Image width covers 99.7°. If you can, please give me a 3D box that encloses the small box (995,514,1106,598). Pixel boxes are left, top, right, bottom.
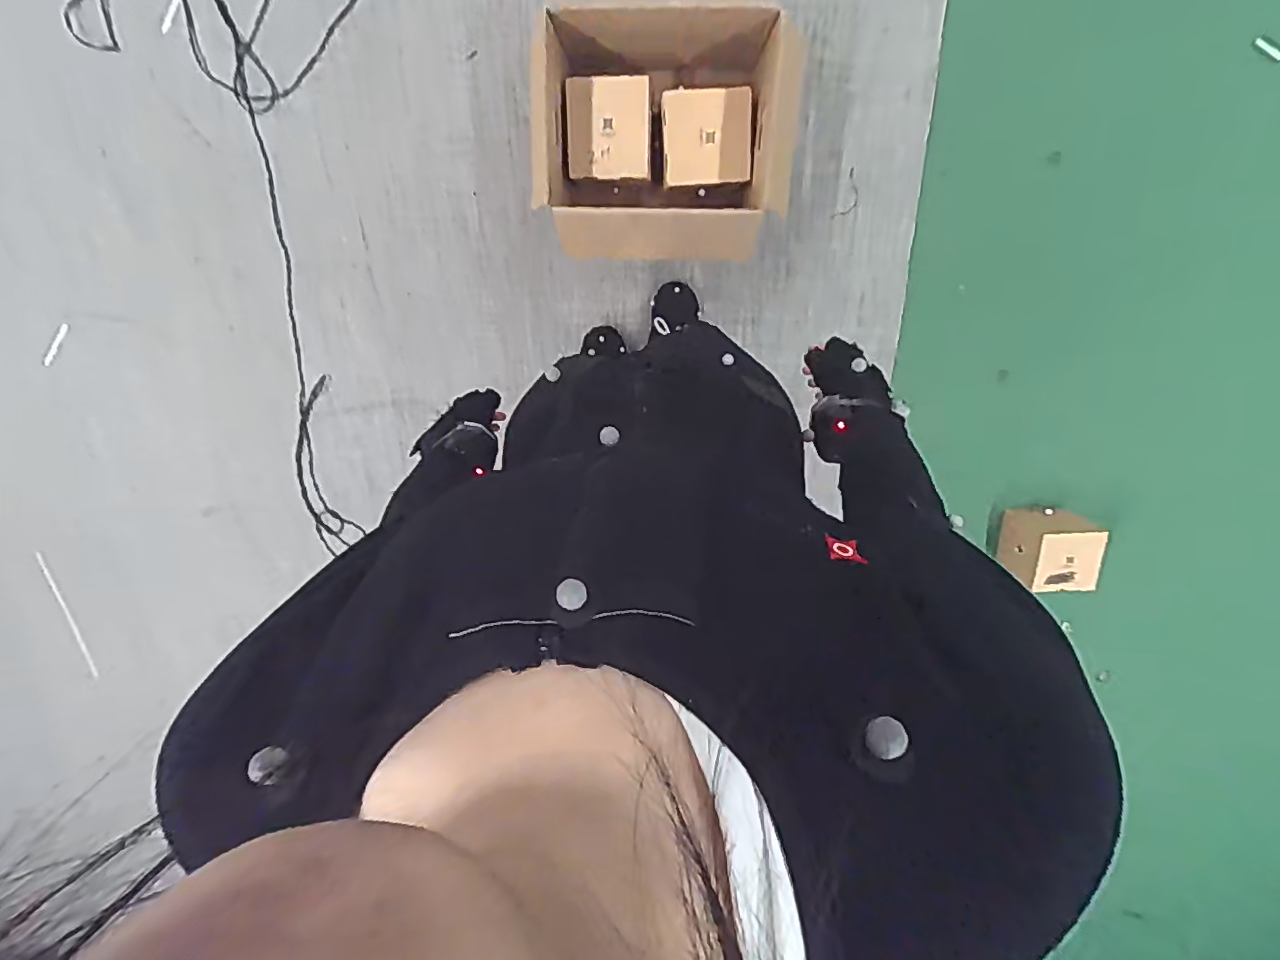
[{"bbox_3d":[1.116,0.206,1.488,0.168,0.176,0.179,-2,109,2],"label":"small box"}]
